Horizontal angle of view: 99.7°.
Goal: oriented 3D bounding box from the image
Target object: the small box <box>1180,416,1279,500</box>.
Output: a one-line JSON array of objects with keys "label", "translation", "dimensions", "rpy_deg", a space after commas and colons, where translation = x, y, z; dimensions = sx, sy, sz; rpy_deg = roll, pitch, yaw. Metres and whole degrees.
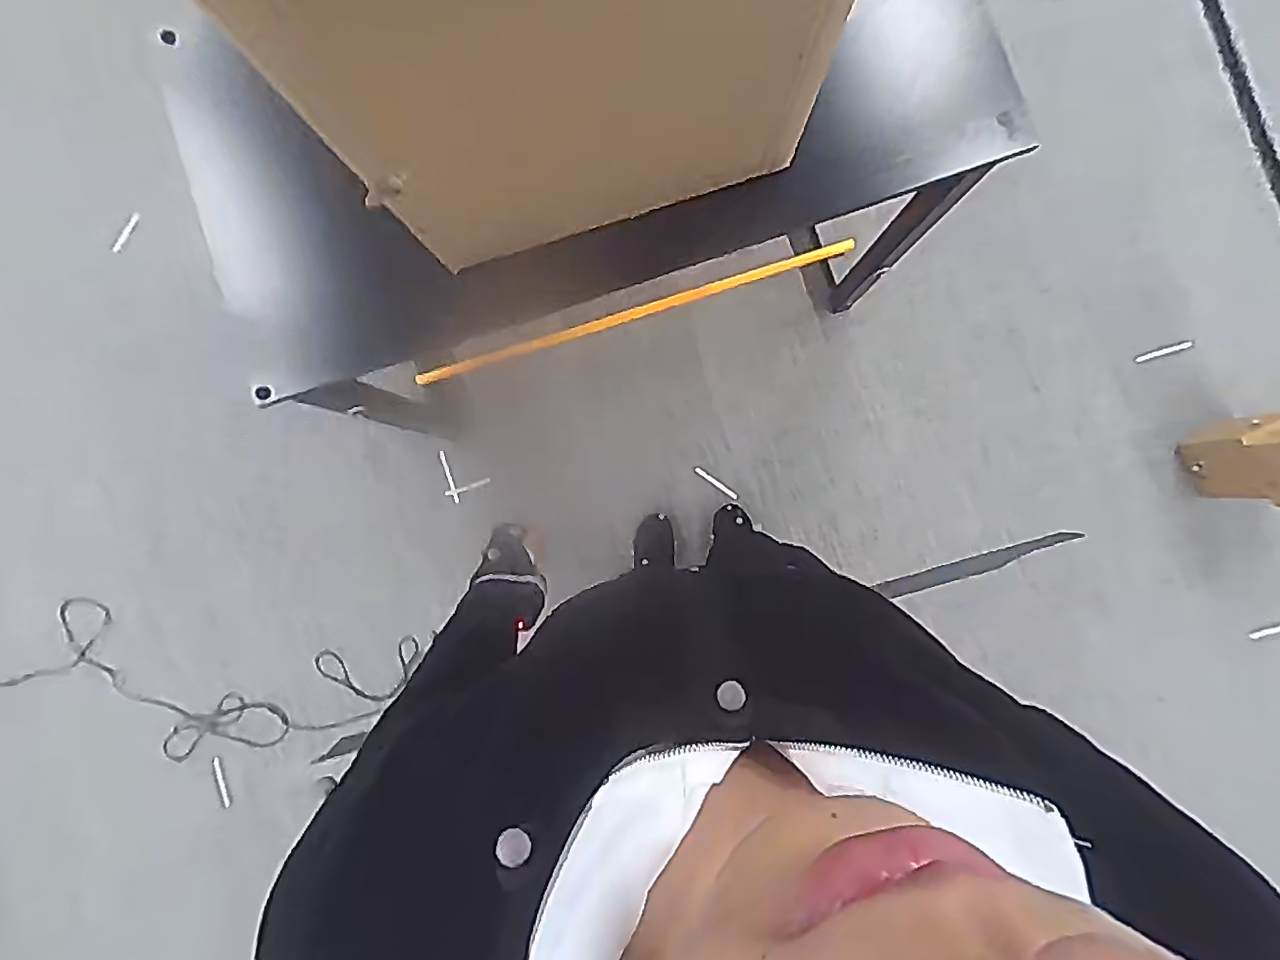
[{"label": "small box", "translation": [1.563, -0.057, 1.379], "dimensions": [0.179, 0.176, 0.168], "rpy_deg": [-24, 87, 3]}]

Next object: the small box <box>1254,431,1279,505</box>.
[{"label": "small box", "translation": [1.562, -0.044, 1.214], "dimensions": [0.179, 0.176, 0.168], "rpy_deg": [-25, 87, 2]}]
